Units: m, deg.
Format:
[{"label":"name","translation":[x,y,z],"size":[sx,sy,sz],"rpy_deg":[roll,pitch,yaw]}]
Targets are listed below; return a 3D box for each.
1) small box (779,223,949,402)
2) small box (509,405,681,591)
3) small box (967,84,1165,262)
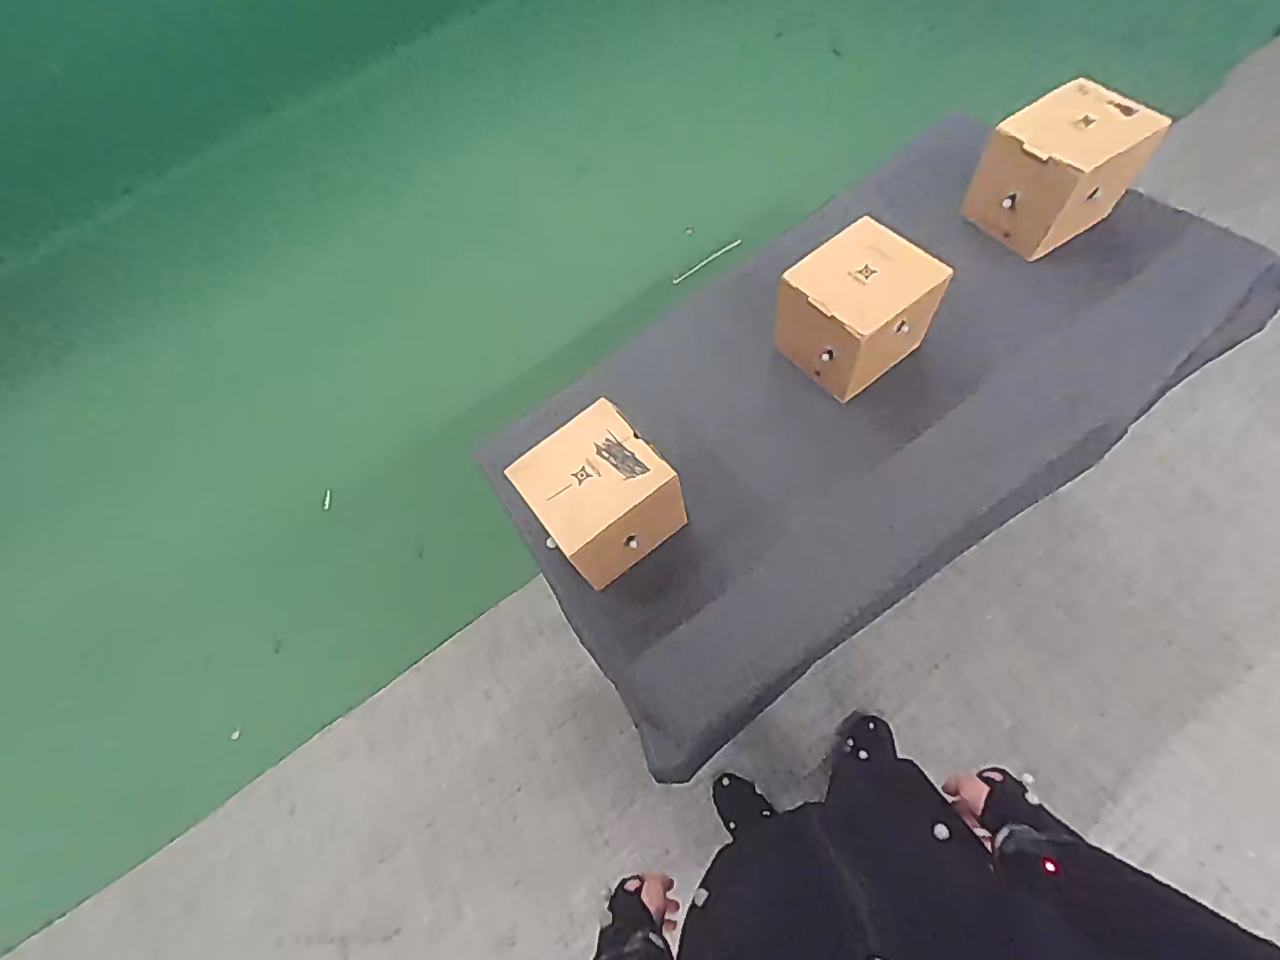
[{"label":"small box","translation":[0.336,-0.256,0.856],"size":[0.179,0.176,0.168],"rpy_deg":[-36,65,-9]},{"label":"small box","translation":[-0.053,0.032,0.783],"size":[0.179,0.176,0.168],"rpy_deg":[-37,64,-8]},{"label":"small box","translation":[0.690,-0.506,0.908],"size":[0.179,0.176,0.168],"rpy_deg":[-31,63,-5]}]
